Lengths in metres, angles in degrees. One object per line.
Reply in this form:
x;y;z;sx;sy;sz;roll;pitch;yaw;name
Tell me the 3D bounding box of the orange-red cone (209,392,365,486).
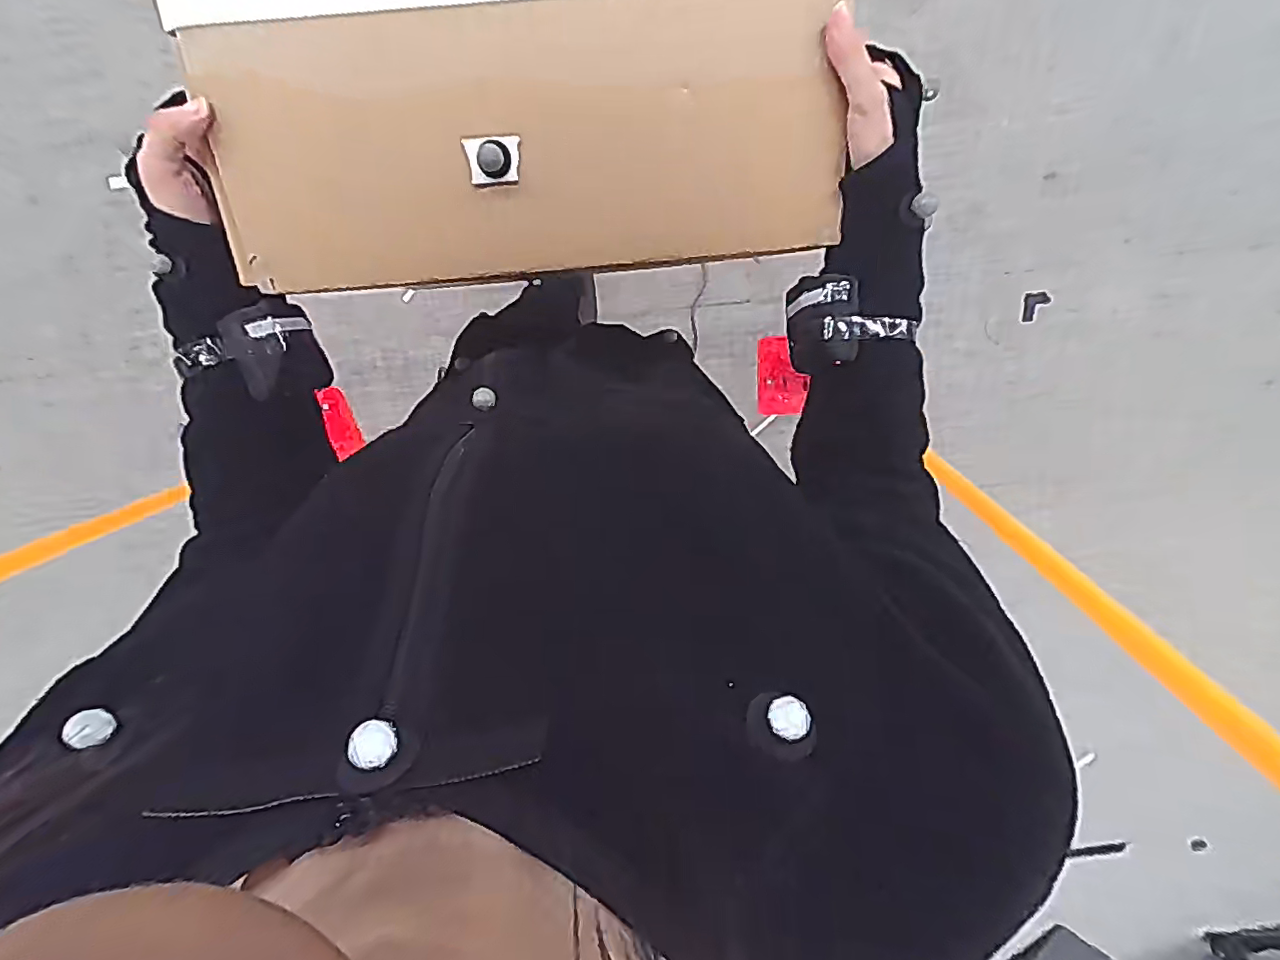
-0.797;-0.057;1.178;0.199;0.360;0.198;-14;107;2;orange-red cone
